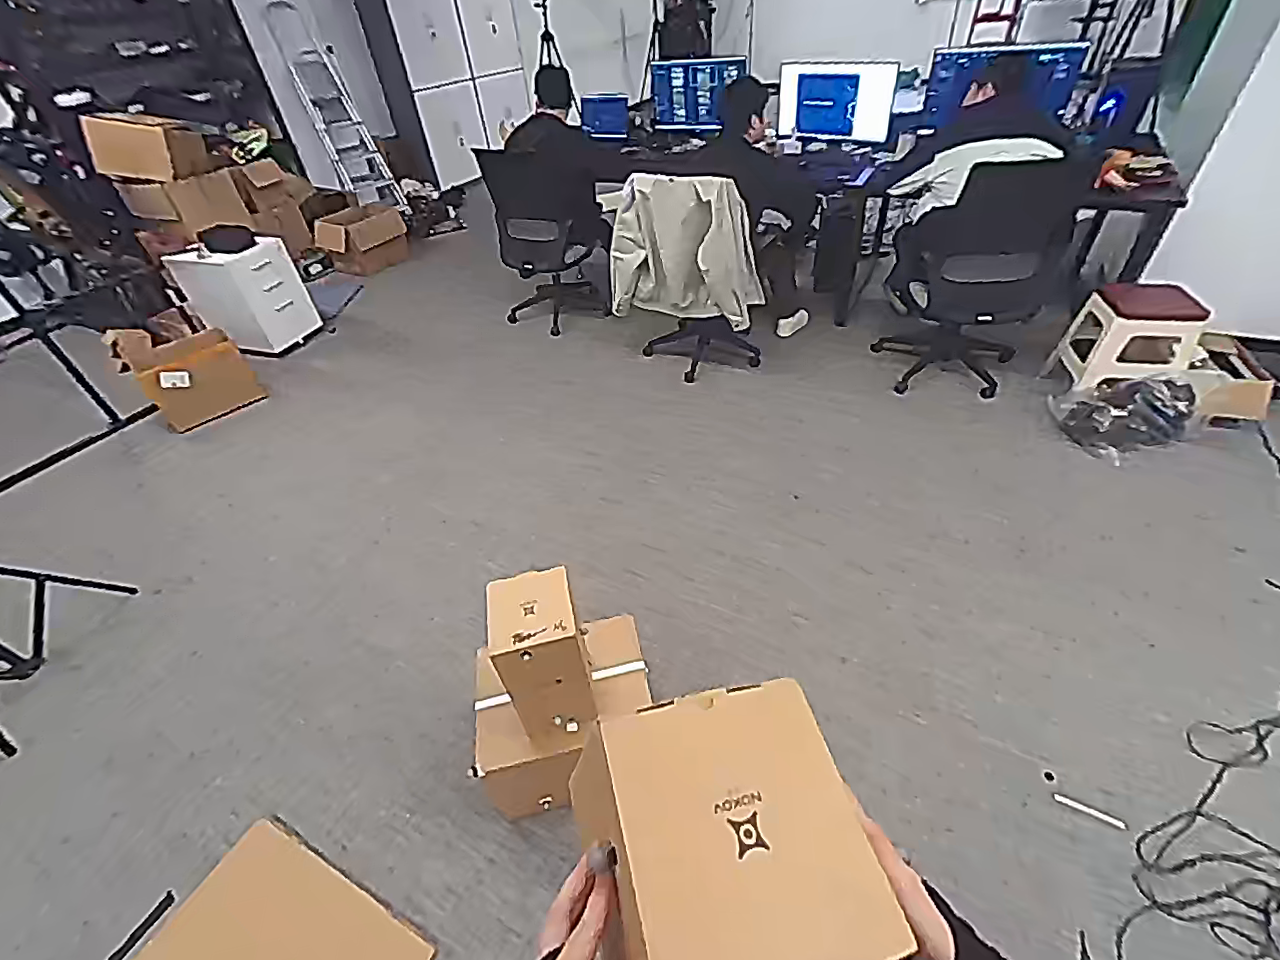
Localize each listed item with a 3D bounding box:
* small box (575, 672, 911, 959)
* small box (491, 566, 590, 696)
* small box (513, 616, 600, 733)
[{"bbox_3d":[0.052,0.276,0.411,0.168,0.176,0.179,-4,47,-19],"label":"small box"},{"bbox_3d":[-0.204,0.310,1.111,0.168,0.176,0.179,-13,41,-6],"label":"small box"},{"bbox_3d":[-0.191,0.434,1.218,0.168,0.176,0.179,-12,43,-7],"label":"small box"}]
